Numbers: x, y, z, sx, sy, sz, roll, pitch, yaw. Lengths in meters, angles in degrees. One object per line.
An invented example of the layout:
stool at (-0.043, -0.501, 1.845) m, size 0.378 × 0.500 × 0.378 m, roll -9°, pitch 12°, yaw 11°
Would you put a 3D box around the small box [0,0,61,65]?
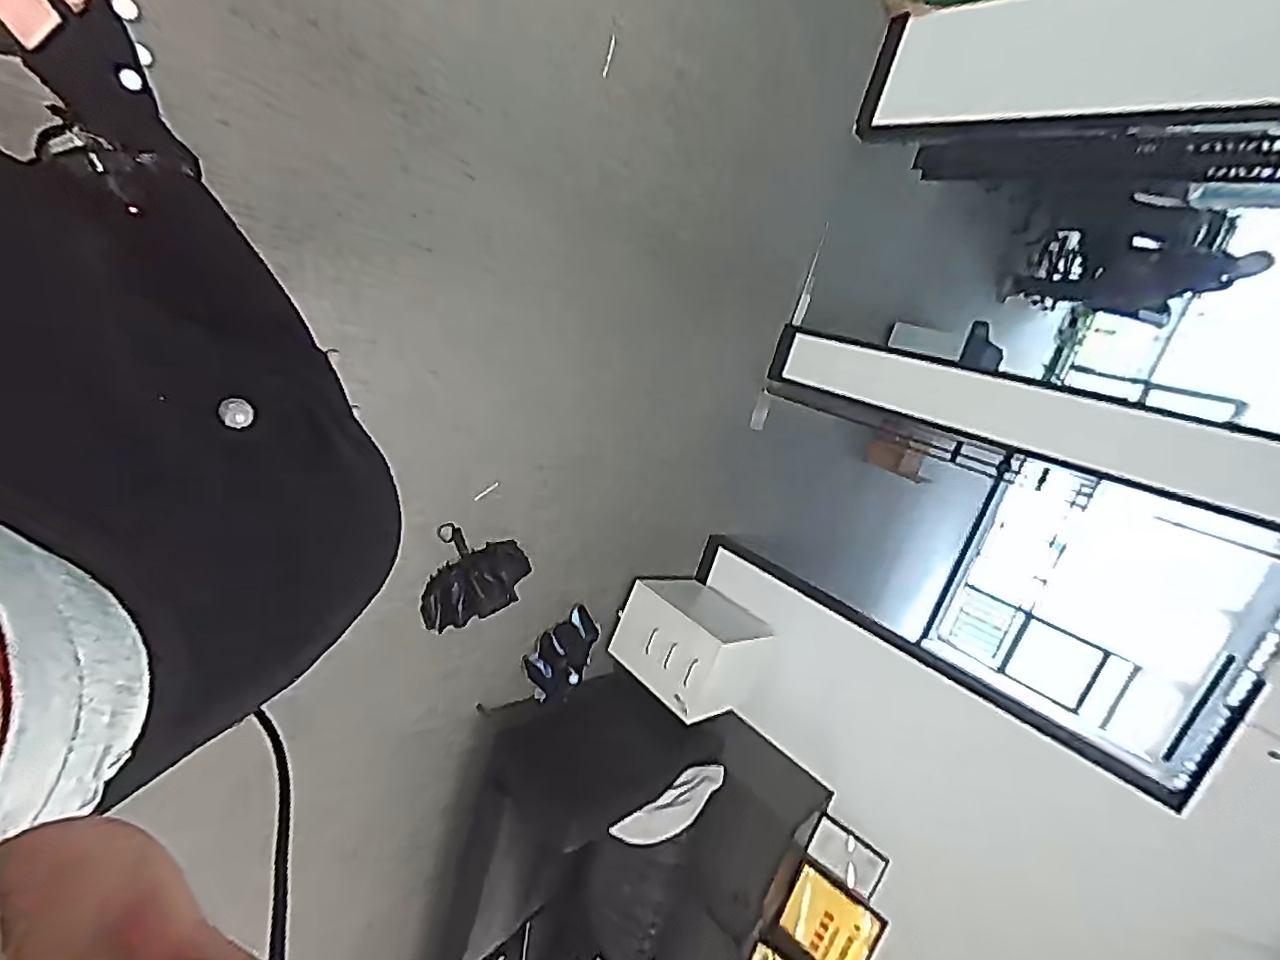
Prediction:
small box at (-0.563, -0.443, 0.380) m, size 0.168 × 0.176 × 0.179 m, roll -15°, pitch 108°, yaw -35°
